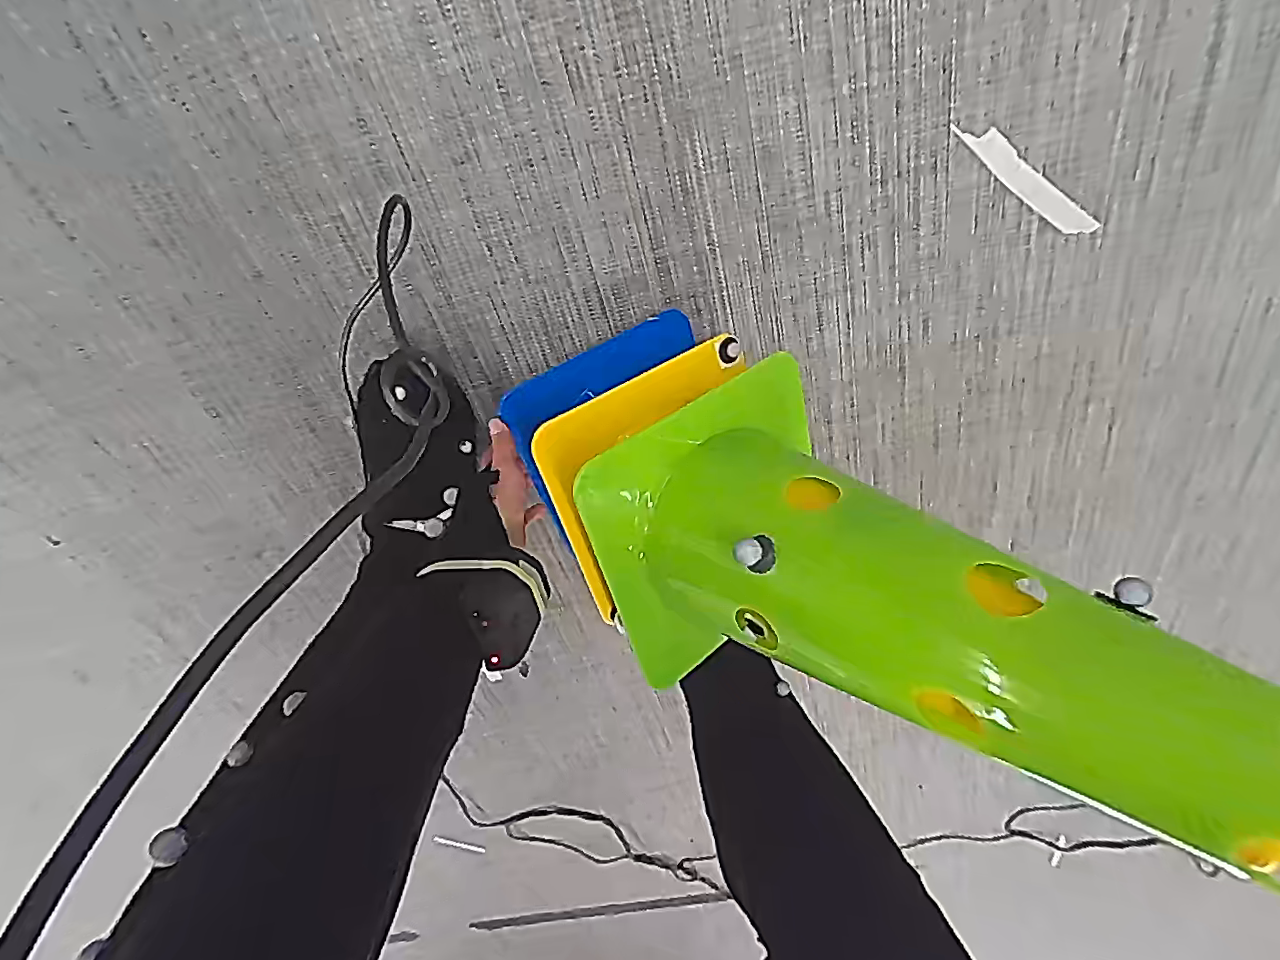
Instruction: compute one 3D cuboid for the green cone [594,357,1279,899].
[{"bbox_3d":[0.169,0.078,0.255,0.202,0.368,0.200,-33,121,-24],"label":"green cone"}]
